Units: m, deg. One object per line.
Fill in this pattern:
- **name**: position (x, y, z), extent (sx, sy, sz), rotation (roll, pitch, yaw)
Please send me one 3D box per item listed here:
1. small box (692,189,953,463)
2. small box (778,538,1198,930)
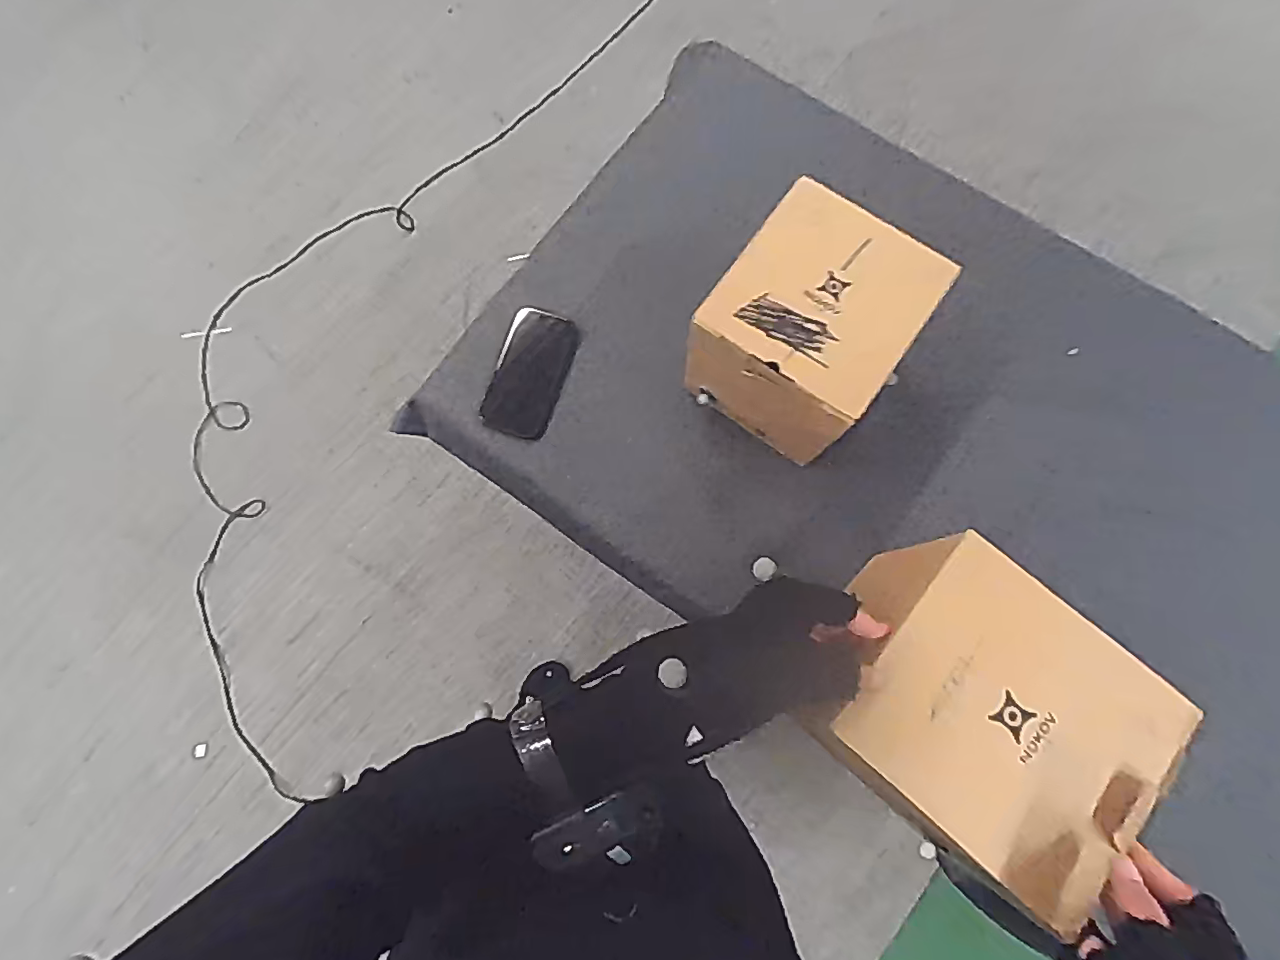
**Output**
- **small box**: position (0.167, -0.141, 0.556), extent (0.168, 0.176, 0.179), rotation (36, 81, 8)
- **small box**: position (0.238, 0.171, 0.419), extent (0.179, 0.176, 0.168), rotation (39, 77, 10)
